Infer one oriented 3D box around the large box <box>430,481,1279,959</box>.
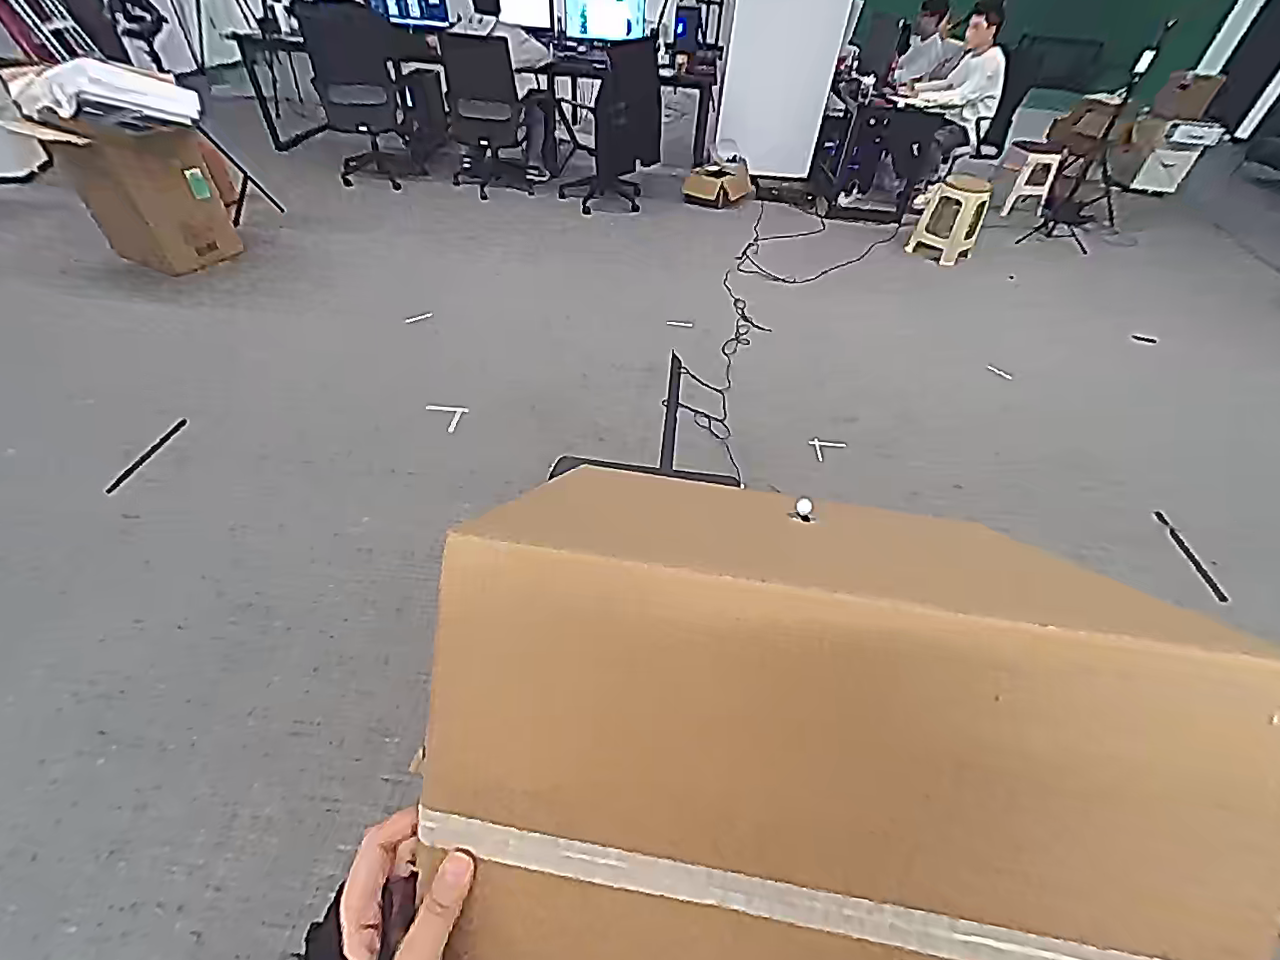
[{"bbox_3d":[0.099,0.186,0.423,0.408,0.320,0.320,7,9,4],"label":"large box"}]
